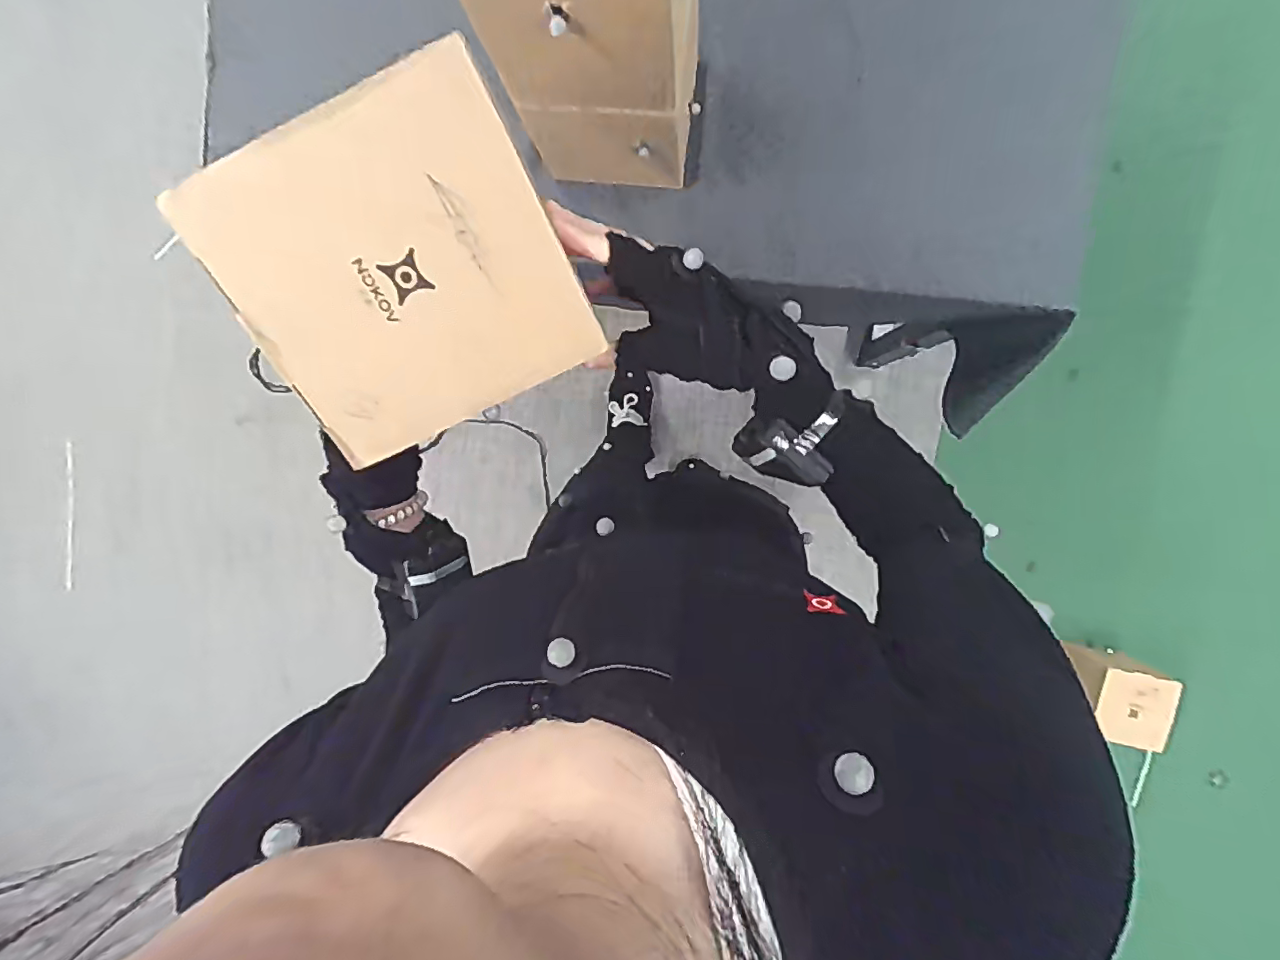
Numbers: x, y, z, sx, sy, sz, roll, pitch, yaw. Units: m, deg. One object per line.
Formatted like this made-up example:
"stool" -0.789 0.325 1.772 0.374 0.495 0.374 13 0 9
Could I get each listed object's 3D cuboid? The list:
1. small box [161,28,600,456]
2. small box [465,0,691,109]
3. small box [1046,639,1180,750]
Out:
"small box" -0.138 -0.144 0.367 0.179 0.176 0.168 -25 113 4
"small box" -0.042 -0.461 0.476 0.179 0.176 0.168 7 95 6
"small box" 1.144 0.518 1.326 0.168 0.176 0.179 11 95 4
